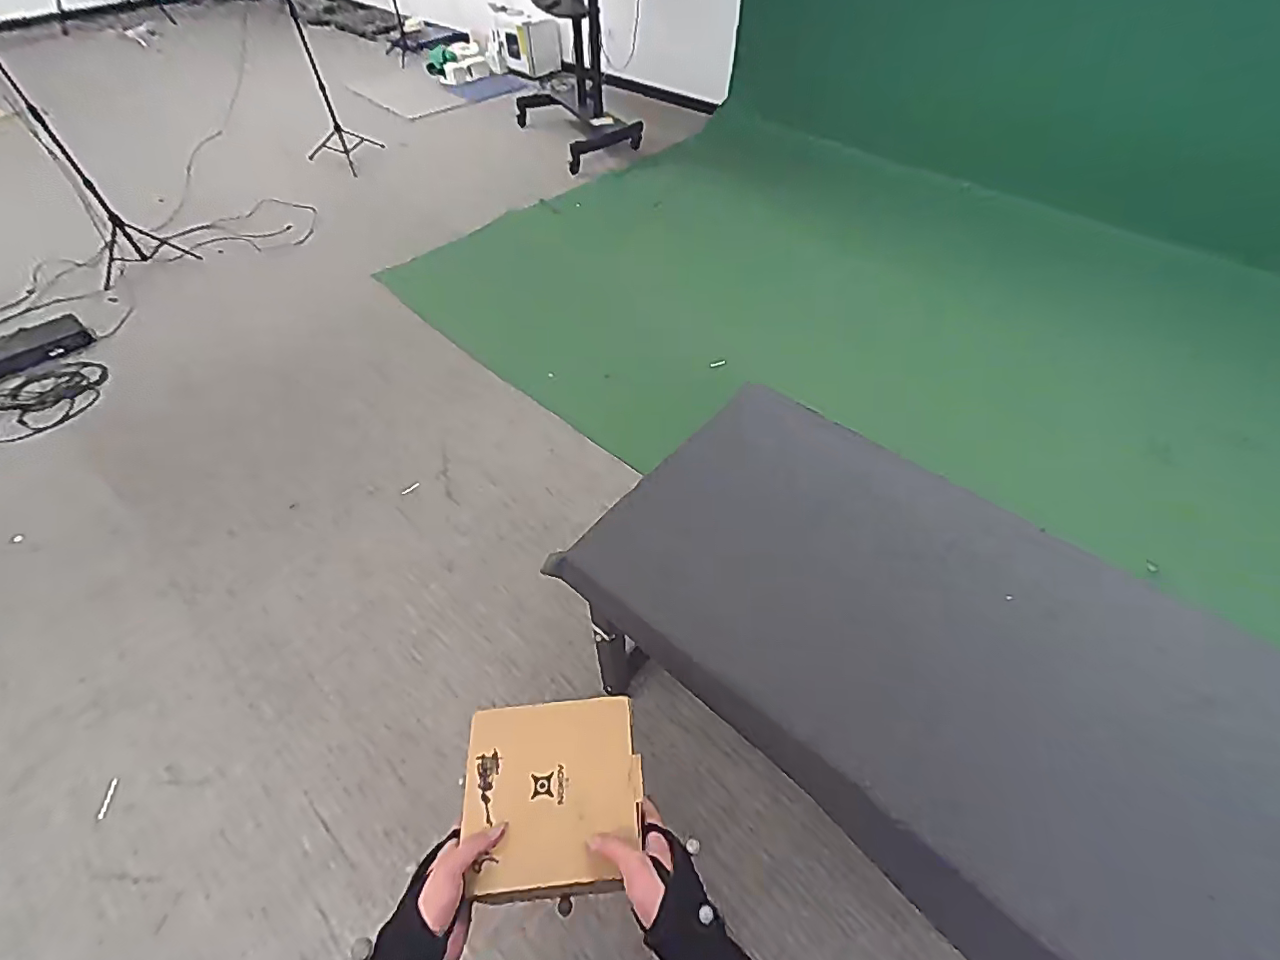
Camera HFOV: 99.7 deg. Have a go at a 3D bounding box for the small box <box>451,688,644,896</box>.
[{"bbox_3d":[-0.092,0.348,0.602,0.179,0.176,0.168,-4,48,-4],"label":"small box"}]
